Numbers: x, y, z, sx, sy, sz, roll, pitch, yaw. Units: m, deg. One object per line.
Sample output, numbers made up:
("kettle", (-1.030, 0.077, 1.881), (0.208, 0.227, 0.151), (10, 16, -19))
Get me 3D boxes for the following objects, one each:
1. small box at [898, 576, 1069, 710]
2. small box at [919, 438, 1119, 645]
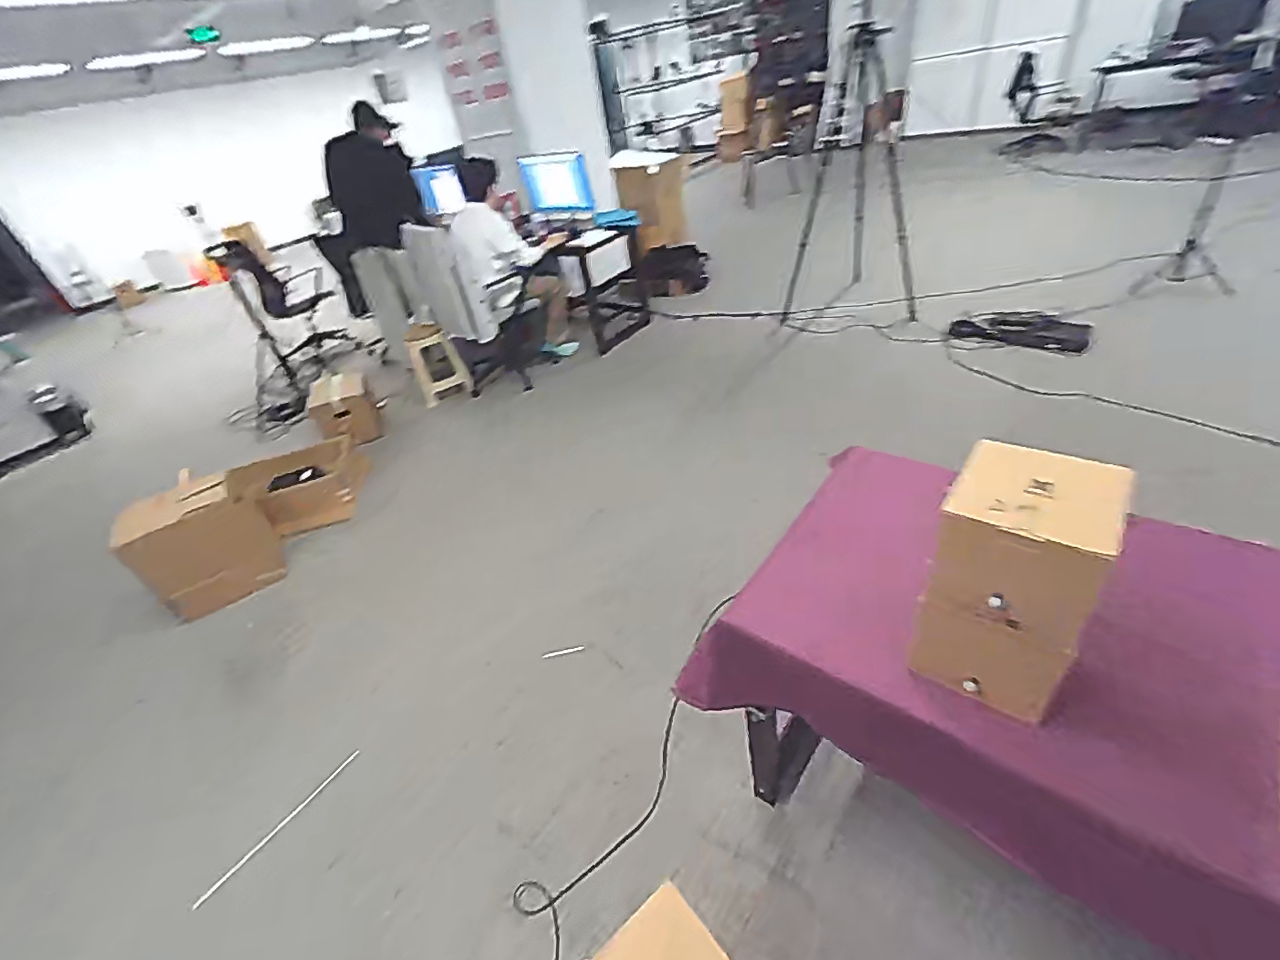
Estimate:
("small box", (0.507, 0.207, 0.803), (0.179, 0.176, 0.168), (19, 46, 34))
("small box", (0.483, 0.075, 0.706), (0.168, 0.176, 0.179), (19, 47, 36))
